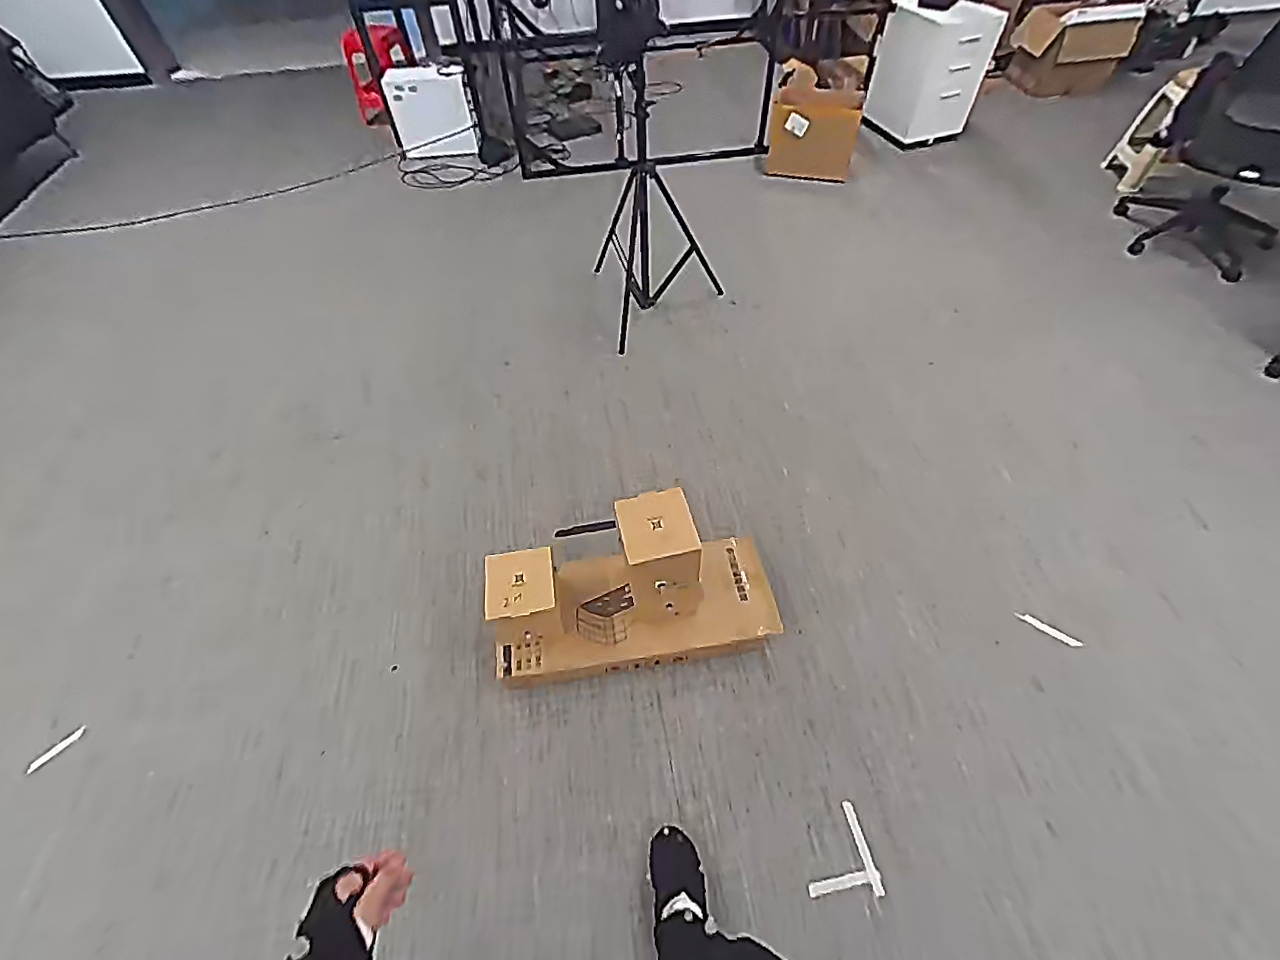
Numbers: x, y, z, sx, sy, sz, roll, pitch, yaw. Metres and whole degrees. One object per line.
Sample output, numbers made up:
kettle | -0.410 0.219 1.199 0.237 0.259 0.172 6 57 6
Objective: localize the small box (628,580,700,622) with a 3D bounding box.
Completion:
small box | 0.055 0.255 1.403 0.168 0.176 0.179 -10 54 -6

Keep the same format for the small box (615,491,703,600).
small box | 0.040 0.156 1.273 0.168 0.176 0.179 -13 54 -7
